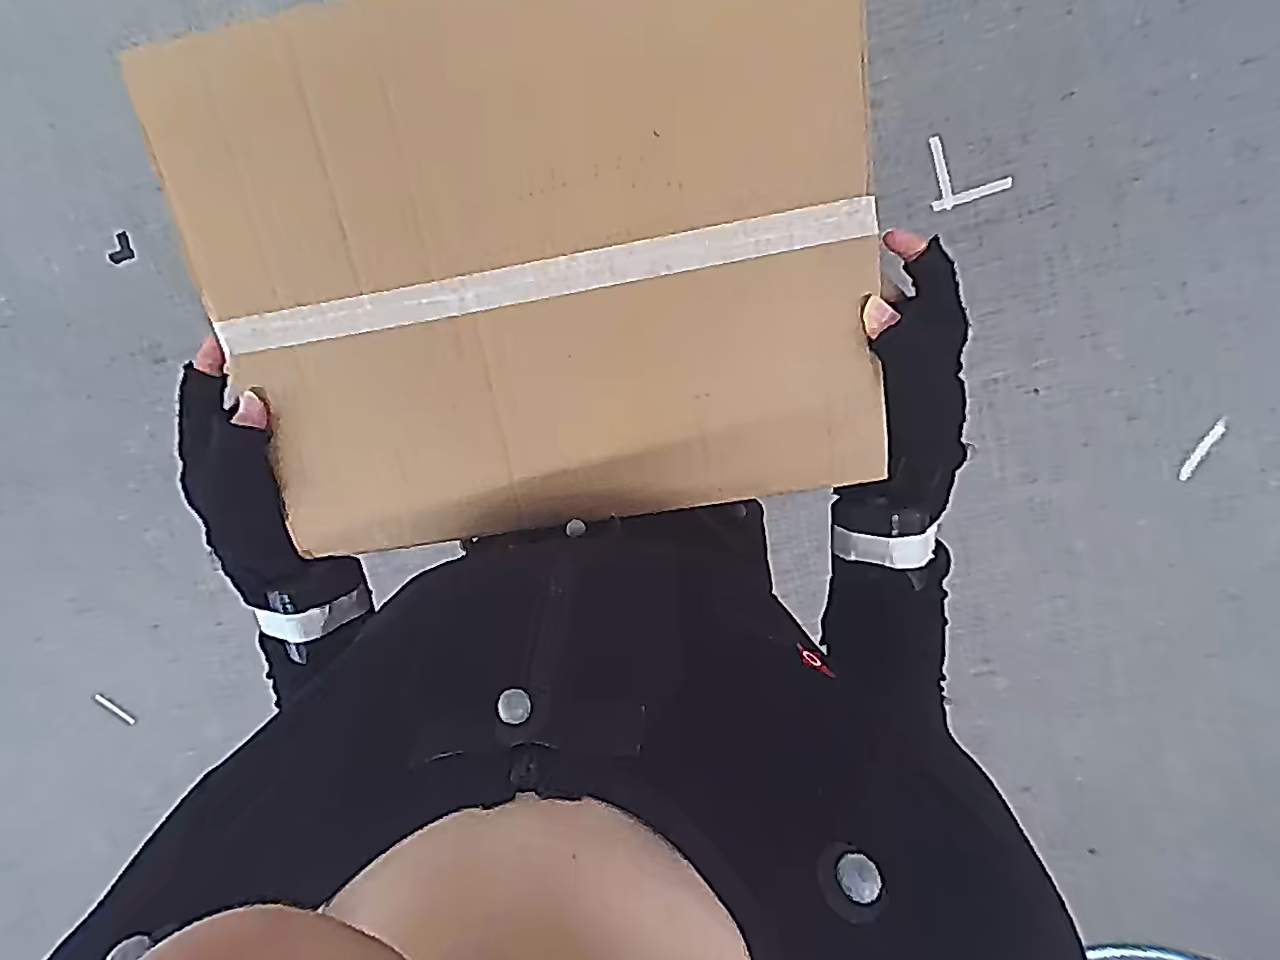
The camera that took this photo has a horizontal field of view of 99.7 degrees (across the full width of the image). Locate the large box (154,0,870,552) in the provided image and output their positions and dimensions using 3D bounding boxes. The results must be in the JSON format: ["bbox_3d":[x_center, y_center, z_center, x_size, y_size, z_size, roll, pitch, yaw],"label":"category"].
[{"bbox_3d":[-0.059,-0.164,0.480,0.408,0.320,0.320,-8,105,5],"label":"large box"}]
